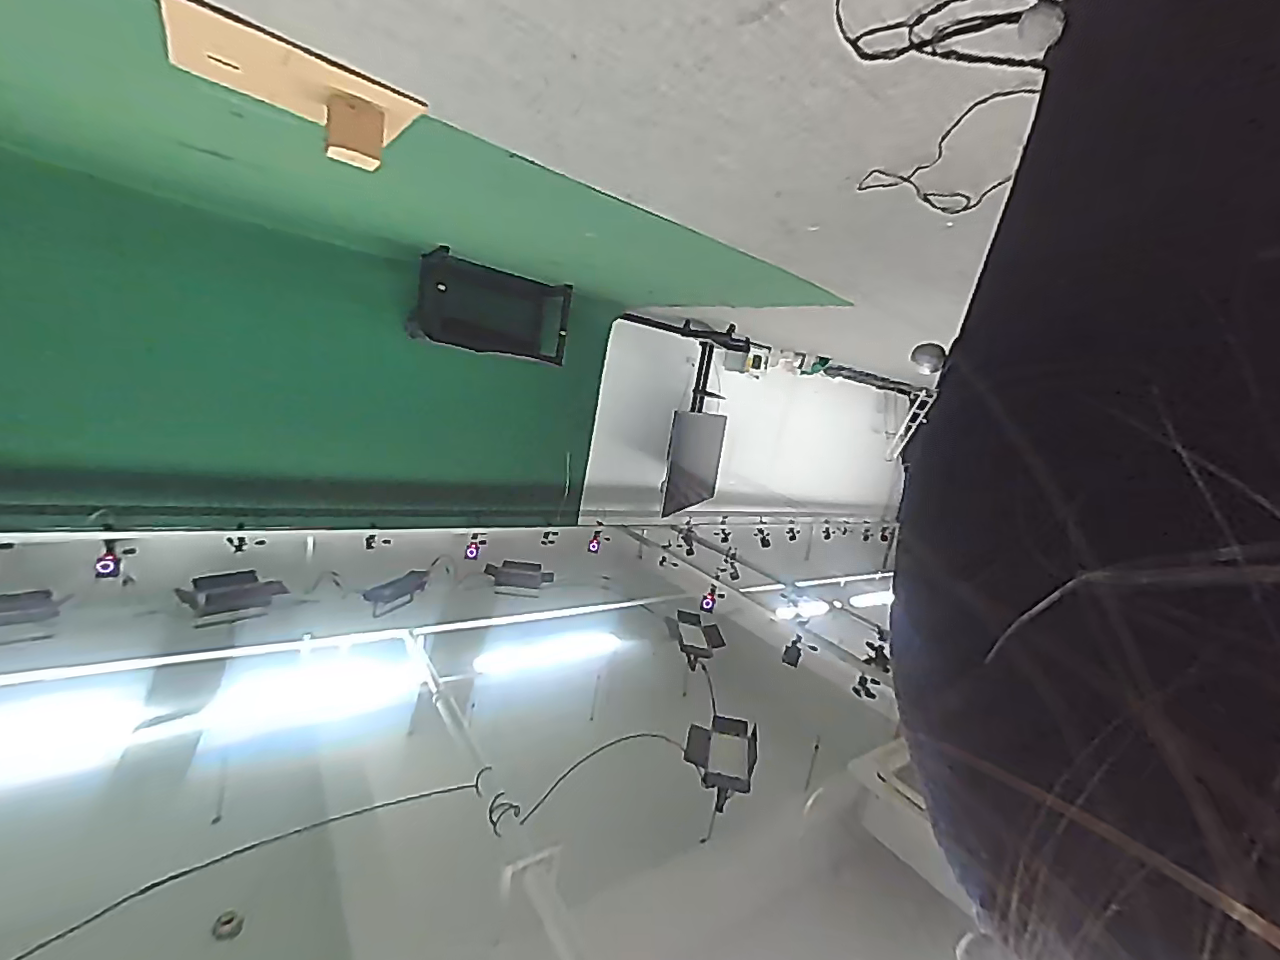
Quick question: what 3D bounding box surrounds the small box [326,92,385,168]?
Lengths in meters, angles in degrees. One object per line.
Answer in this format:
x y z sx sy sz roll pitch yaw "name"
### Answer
-1.049 -1.285 1.990 0.168 0.176 0.179 1 -167 -38 "small box"
